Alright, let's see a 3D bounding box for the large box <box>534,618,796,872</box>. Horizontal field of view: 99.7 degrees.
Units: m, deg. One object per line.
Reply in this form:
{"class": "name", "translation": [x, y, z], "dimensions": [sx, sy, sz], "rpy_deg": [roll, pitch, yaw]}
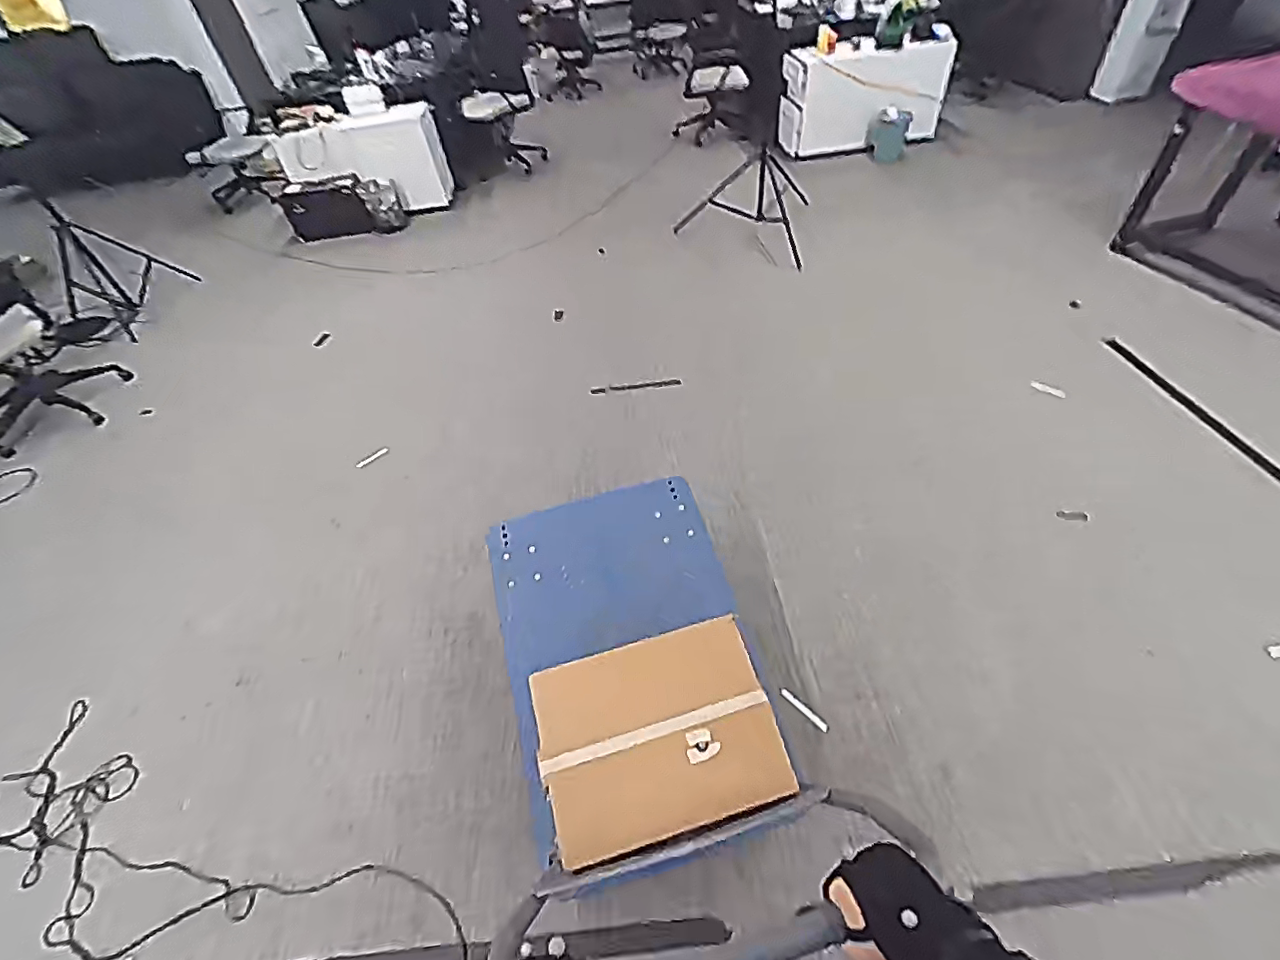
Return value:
{"class": "large box", "translation": [0.035, 0.525, 1.089], "dimensions": [0.408, 0.320, 0.320], "rpy_deg": [-15, 61, -8]}
